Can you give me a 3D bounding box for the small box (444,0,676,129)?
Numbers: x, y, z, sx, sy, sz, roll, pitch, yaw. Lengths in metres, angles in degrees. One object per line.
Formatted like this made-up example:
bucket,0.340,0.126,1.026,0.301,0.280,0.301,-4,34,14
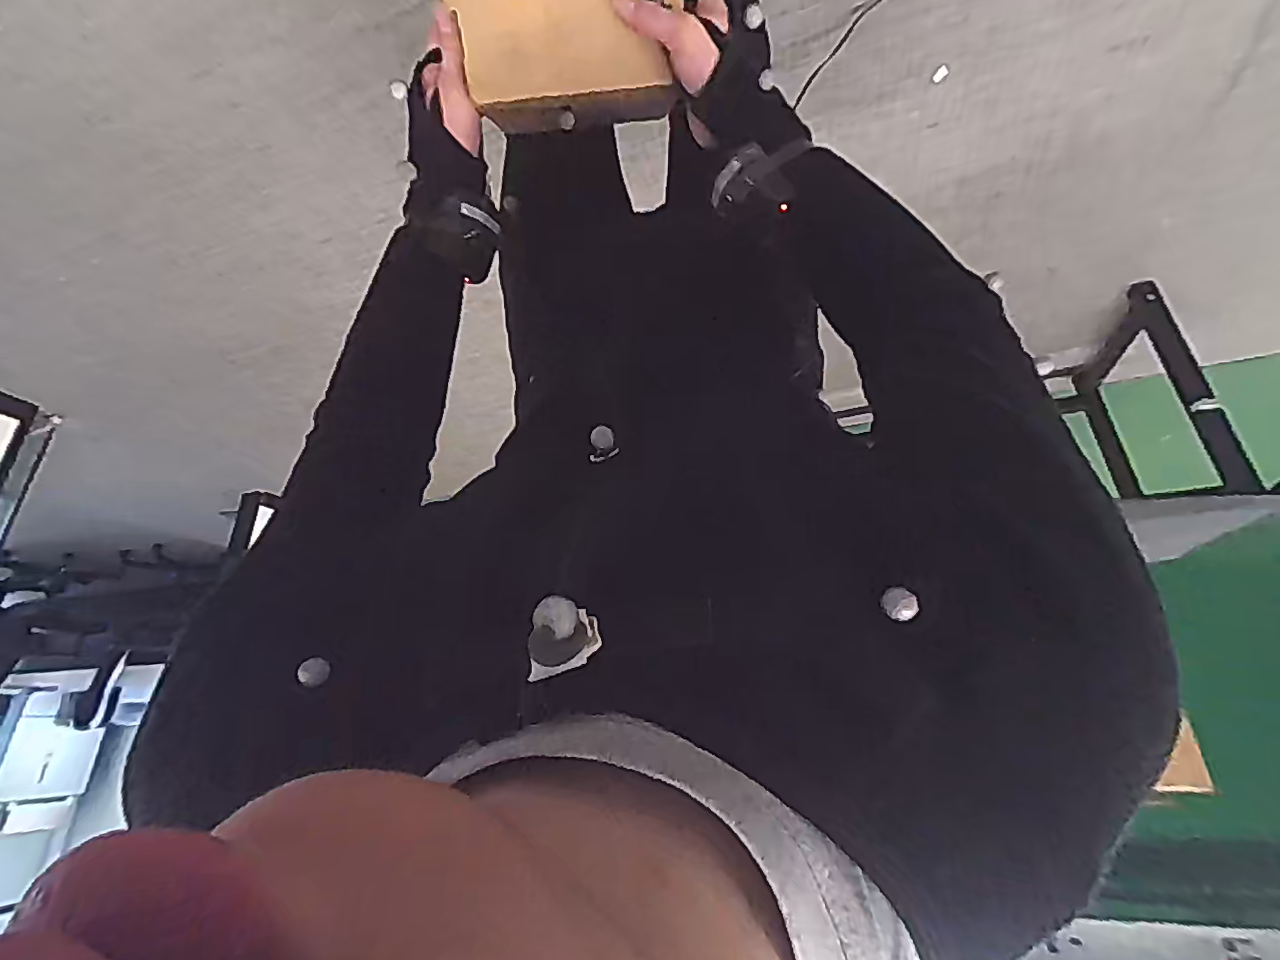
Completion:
small box,-0.063,-0.418,0.468,0.179,0.176,0.168,-5,116,2
